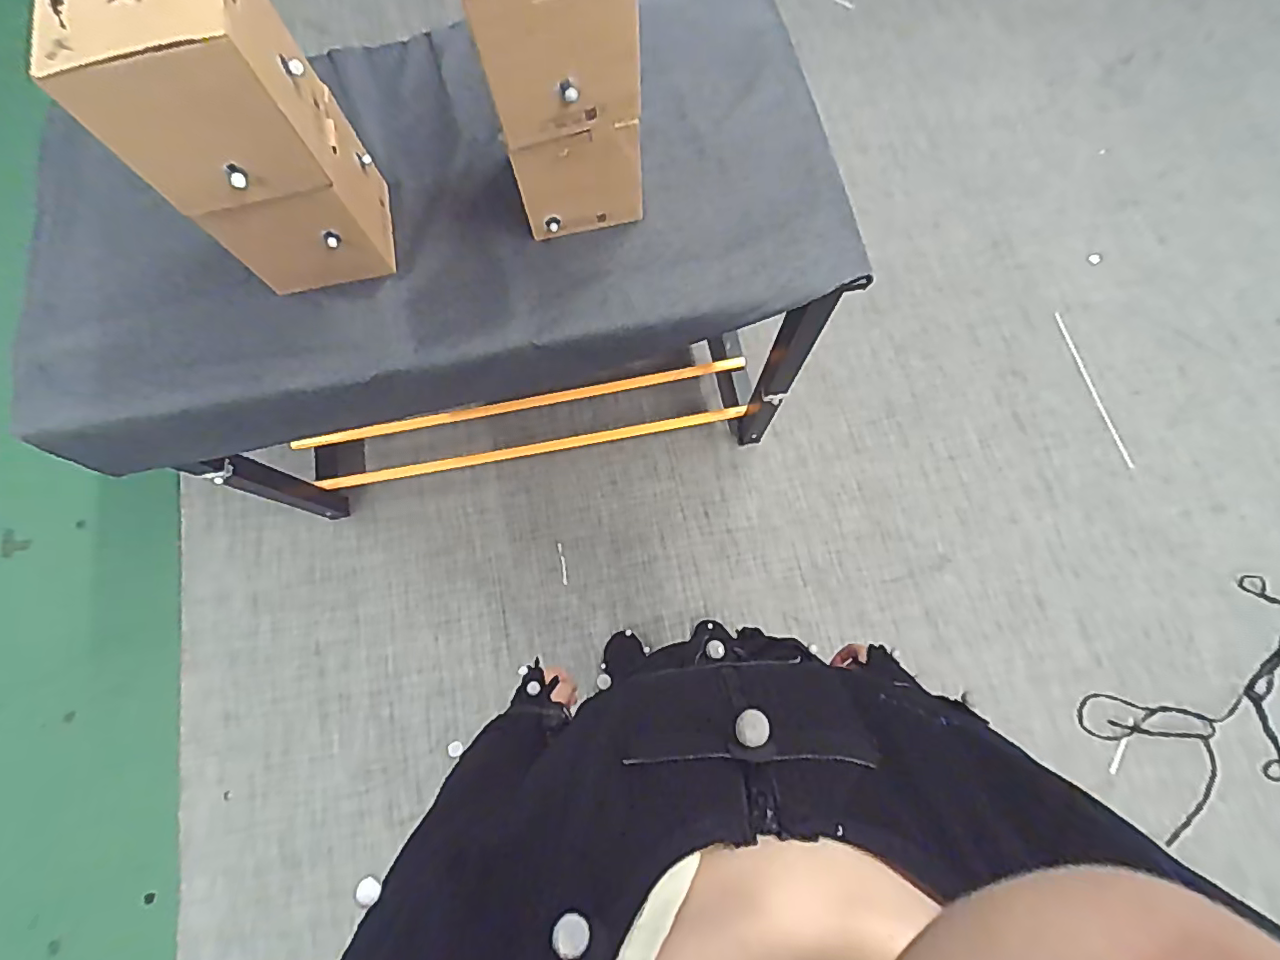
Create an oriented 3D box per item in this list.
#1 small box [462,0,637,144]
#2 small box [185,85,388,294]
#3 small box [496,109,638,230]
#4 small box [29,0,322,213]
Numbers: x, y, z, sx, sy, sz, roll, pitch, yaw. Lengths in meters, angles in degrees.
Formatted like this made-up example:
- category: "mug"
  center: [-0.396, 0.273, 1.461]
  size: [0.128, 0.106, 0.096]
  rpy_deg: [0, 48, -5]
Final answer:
- category: "small box"
  center: [-0.106, -0.516, 0.589]
  size: [0.168, 0.176, 0.179]
  rpy_deg: [-18, 75, -3]
- category: "small box"
  center: [-0.461, -0.380, 0.731]
  size: [0.179, 0.176, 0.168]
  rpy_deg: [-13, 73, -2]
- category: "small box"
  center: [-0.099, -0.473, 0.748]
  size: [0.168, 0.176, 0.179]
  rpy_deg: [-12, 74, -2]
- category: "small box"
  center: [-0.464, -0.420, 0.572]
  size: [0.179, 0.176, 0.168]
  rpy_deg: [-15, 73, -3]
